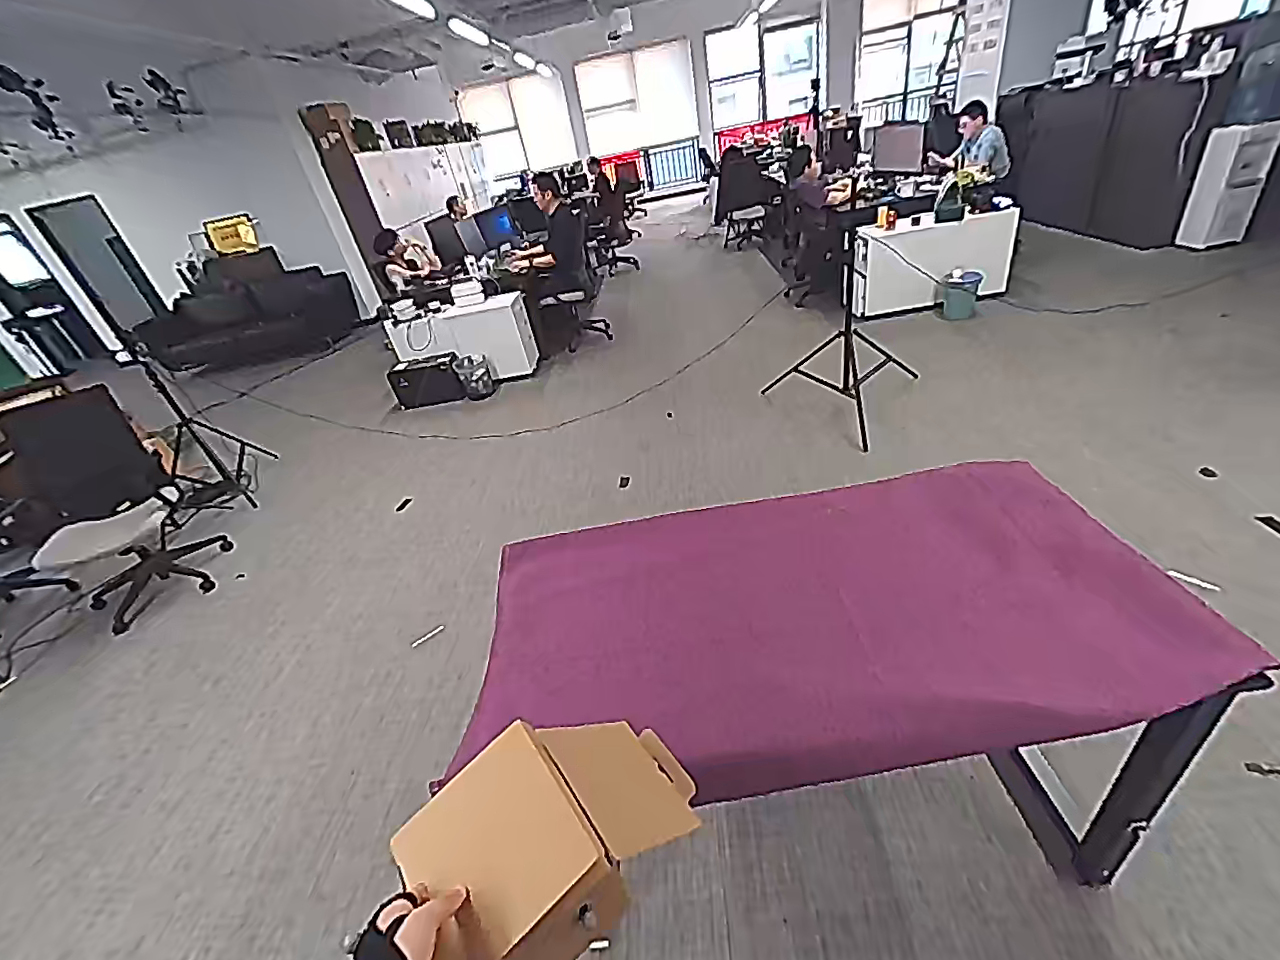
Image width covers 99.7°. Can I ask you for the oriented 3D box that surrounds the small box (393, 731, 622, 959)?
[{"bbox_3d":[-0.132,0.425,0.591,0.179,0.176,0.168,-30,45,-23],"label":"small box"}]
